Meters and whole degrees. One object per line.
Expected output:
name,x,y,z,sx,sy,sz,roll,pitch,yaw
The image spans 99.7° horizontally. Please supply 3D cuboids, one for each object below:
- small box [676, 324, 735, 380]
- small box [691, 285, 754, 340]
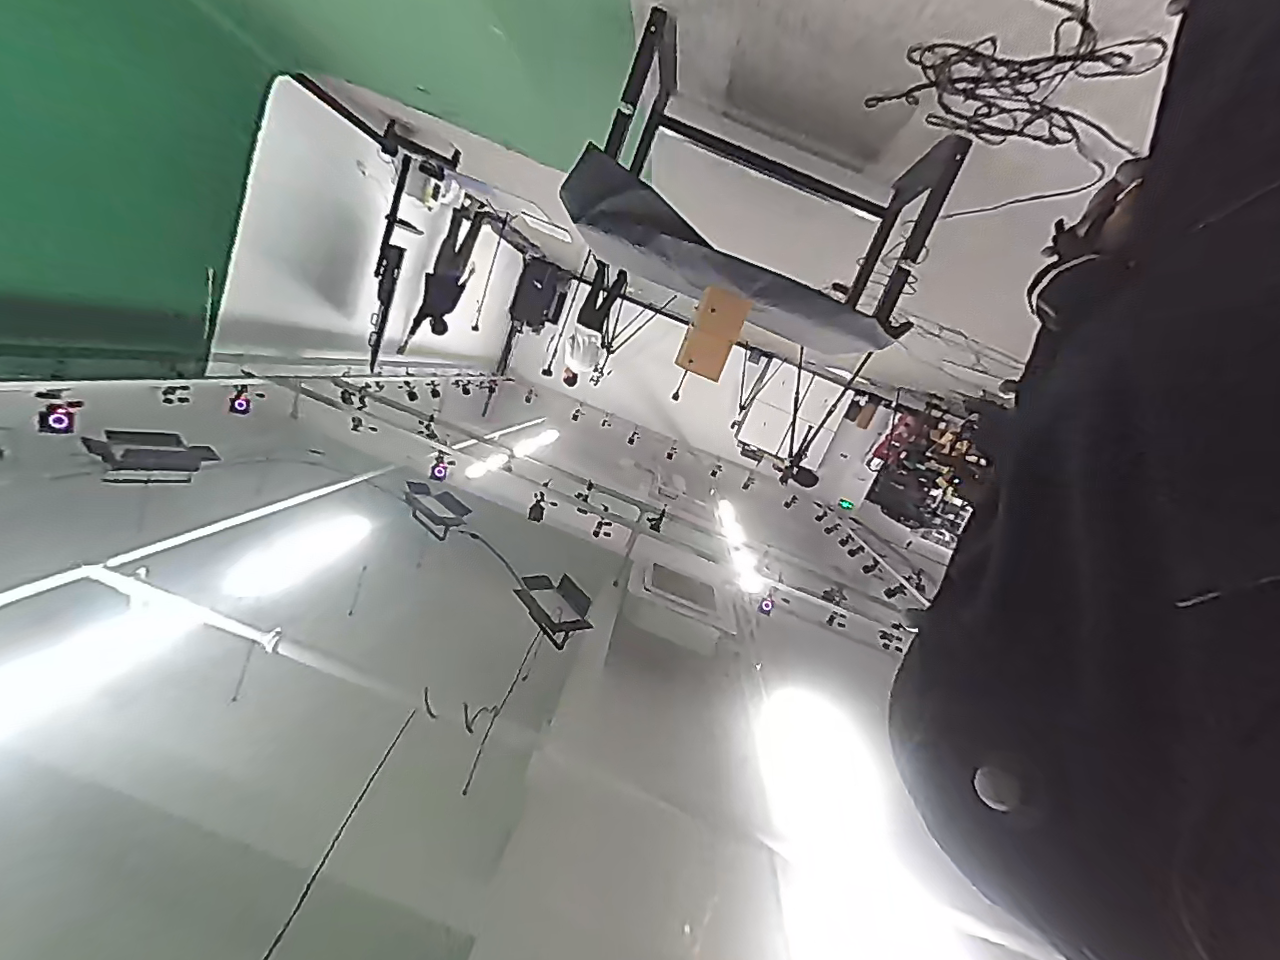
small box,0.266,-0.523,2.194,0.179,0.176,0.168,21,-167,-9
small box,0.326,-0.668,2.154,0.179,0.176,0.168,20,-166,-9
